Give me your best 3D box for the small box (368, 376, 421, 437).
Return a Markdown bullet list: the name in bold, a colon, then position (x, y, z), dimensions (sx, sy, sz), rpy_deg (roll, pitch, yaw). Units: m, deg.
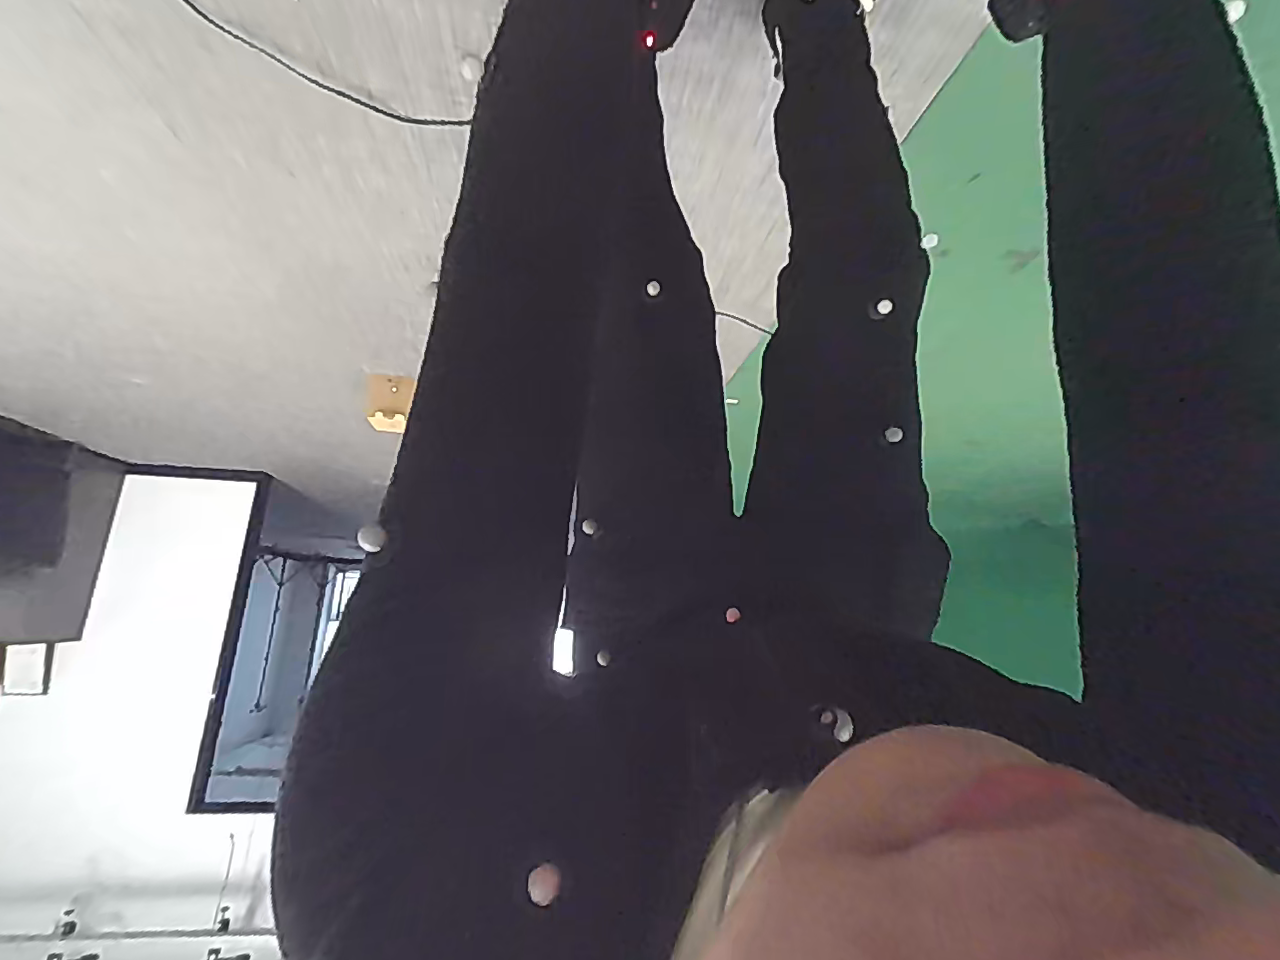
- **small box**: position (-0.941, -0.280, 2.084), dimensions (0.168, 0.176, 0.179), rpy_deg (5, 164, -20)
